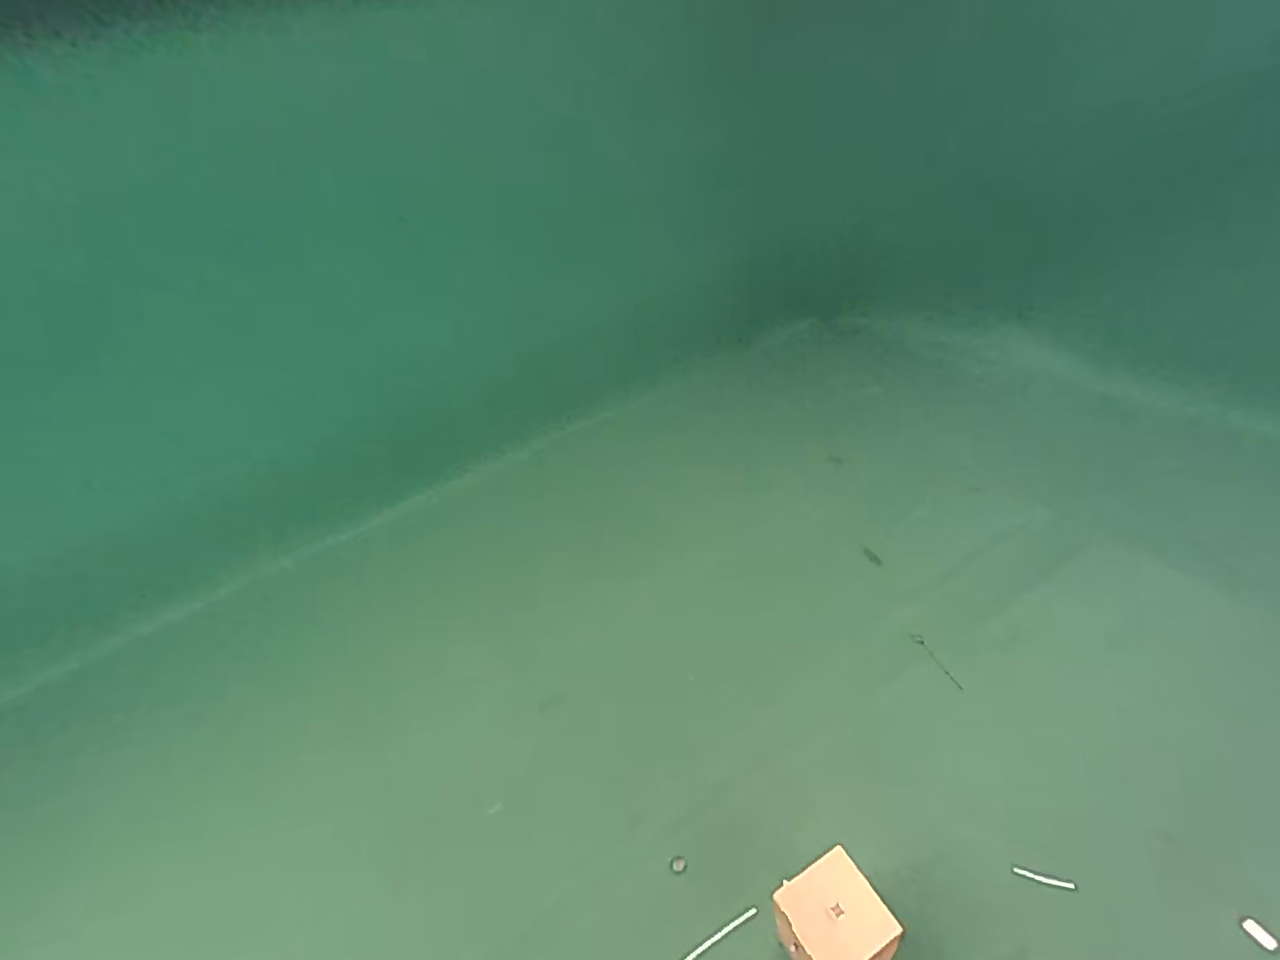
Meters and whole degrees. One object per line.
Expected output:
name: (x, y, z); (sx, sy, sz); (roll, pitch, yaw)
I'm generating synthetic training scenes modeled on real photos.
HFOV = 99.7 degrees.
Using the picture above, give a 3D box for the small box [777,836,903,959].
small box: (0.398, 0.878, 1.101); (0.179, 0.176, 0.168); (-27, 40, -14)

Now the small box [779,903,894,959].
small box: (0.429, 1.000, 1.203); (0.179, 0.176, 0.168); (-25, 39, -14)
